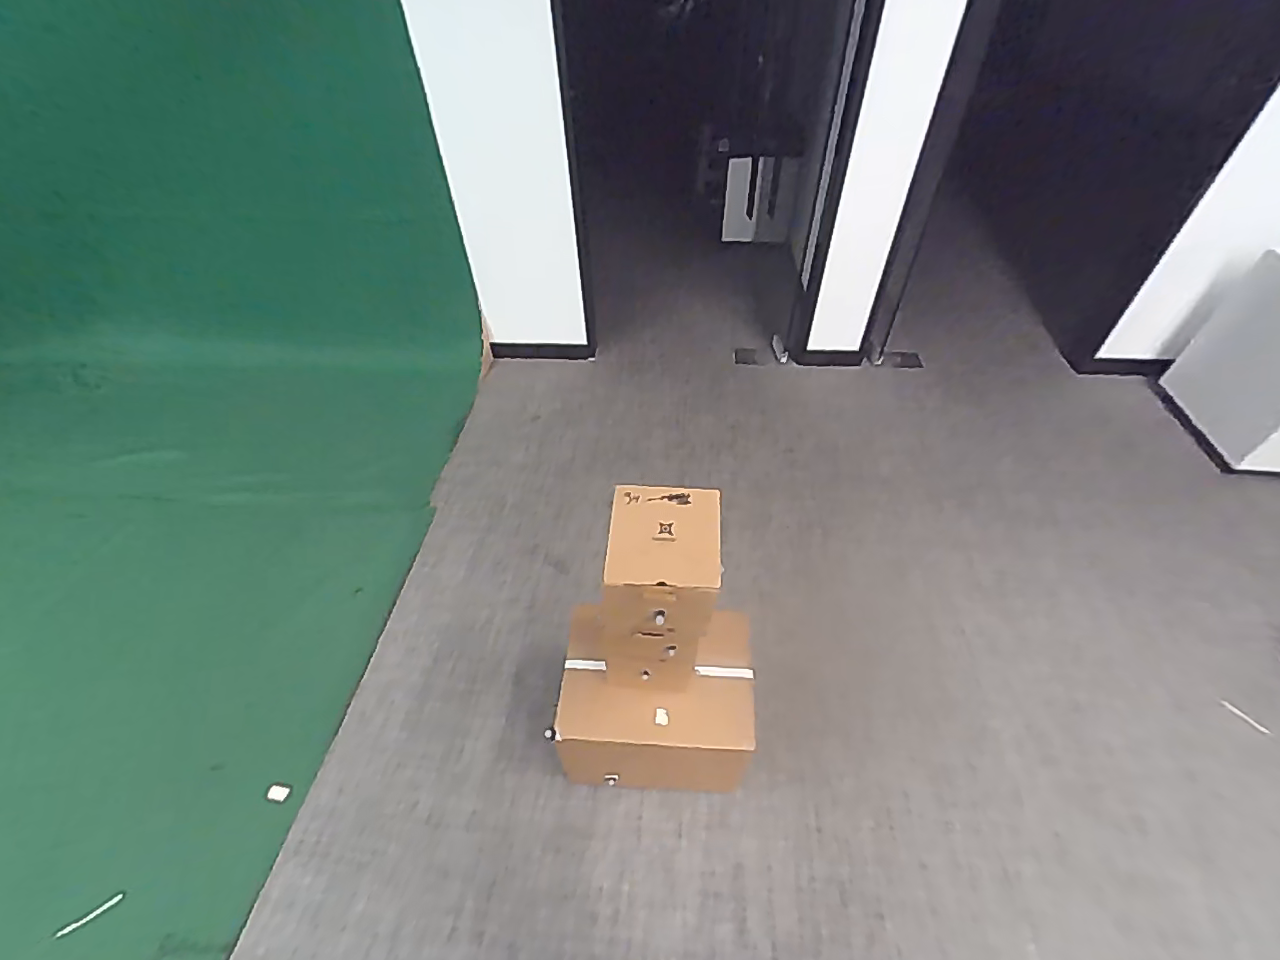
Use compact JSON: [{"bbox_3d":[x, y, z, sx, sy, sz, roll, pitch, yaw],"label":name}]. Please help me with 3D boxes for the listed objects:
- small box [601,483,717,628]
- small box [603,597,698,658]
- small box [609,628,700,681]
[{"bbox_3d":[0.035,0.125,0.870,0.168,0.176,0.179,3,54,4],"label":"small box"},{"bbox_3d":[0.027,0.217,1.005,0.168,0.176,0.179,3,52,3],"label":"small box"},{"bbox_3d":[0.033,0.315,1.134,0.179,0.176,0.168,2,53,3],"label":"small box"}]
